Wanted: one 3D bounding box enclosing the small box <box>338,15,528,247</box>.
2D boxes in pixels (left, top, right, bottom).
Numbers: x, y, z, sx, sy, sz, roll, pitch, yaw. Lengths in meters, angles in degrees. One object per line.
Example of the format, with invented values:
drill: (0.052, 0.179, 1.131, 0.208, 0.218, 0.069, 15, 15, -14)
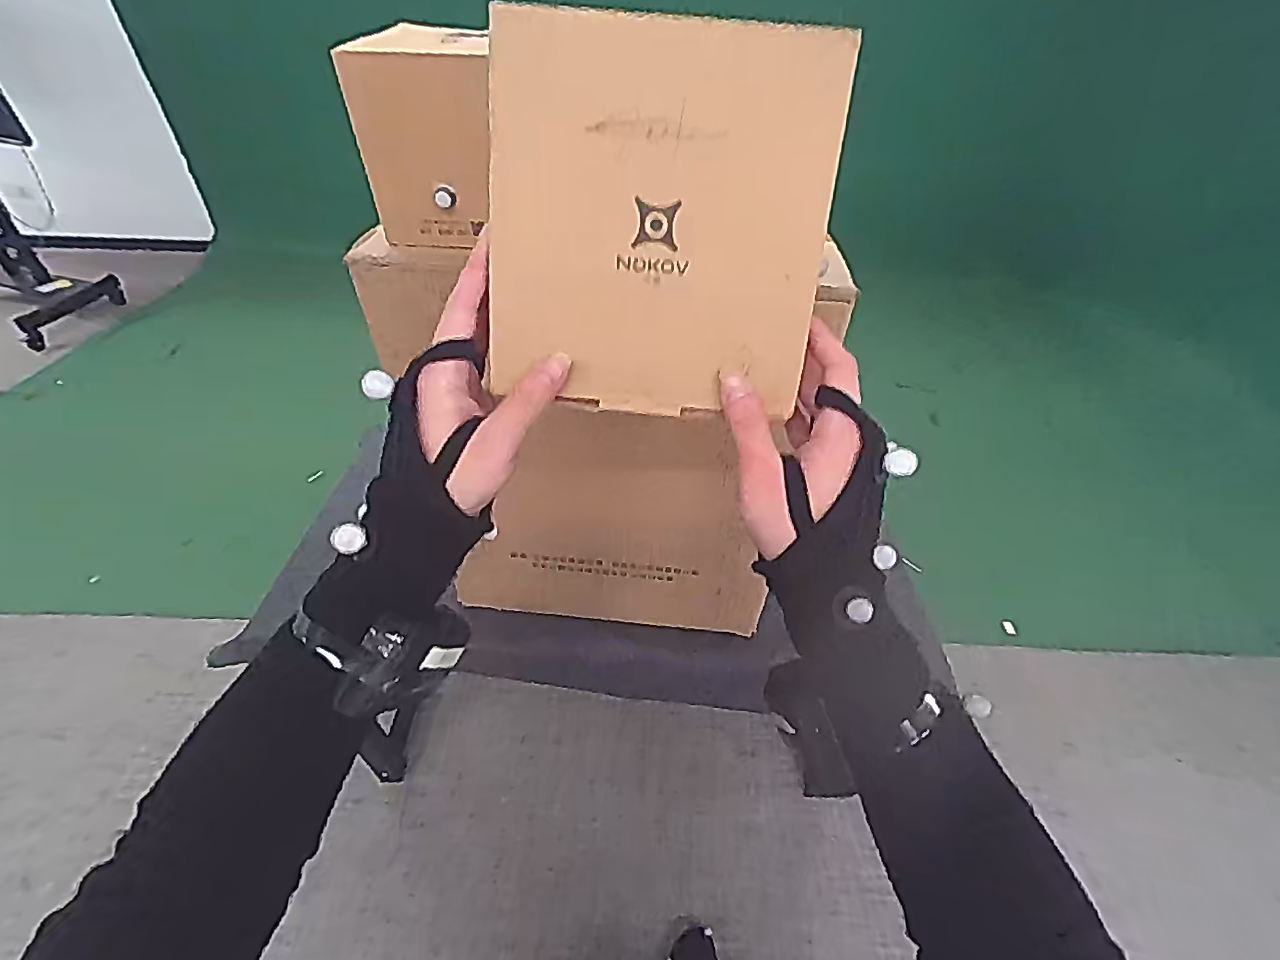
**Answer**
small box: (-0.167, -0.363, 0.562, 0.168, 0.176, 0.179, 5, 45, 4)
